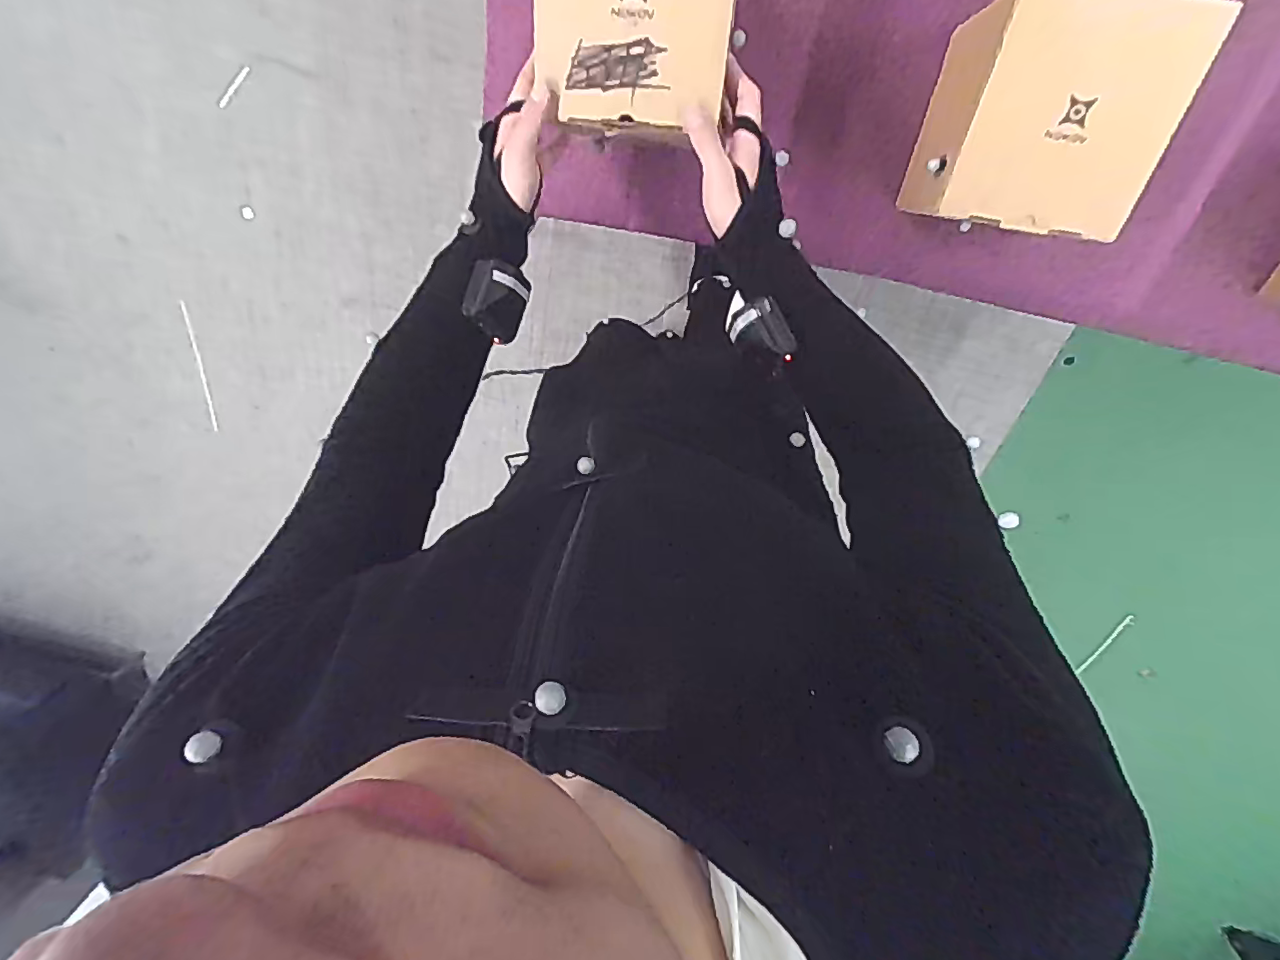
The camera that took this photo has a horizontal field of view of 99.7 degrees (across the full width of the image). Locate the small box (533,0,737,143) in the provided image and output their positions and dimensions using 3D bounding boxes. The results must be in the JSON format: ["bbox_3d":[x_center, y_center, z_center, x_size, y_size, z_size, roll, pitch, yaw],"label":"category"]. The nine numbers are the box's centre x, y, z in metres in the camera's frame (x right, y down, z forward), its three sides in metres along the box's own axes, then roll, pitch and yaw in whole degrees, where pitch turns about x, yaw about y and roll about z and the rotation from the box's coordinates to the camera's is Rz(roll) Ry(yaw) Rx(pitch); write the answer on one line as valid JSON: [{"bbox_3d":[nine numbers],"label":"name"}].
[{"bbox_3d":[0.004,-0.430,0.507,0.168,0.176,0.179,8,117,4],"label":"small box"}]

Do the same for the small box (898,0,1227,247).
[{"bbox_3d":[0.385,-0.349,0.541,0.168,0.176,0.179,12,121,4],"label":"small box"}]
